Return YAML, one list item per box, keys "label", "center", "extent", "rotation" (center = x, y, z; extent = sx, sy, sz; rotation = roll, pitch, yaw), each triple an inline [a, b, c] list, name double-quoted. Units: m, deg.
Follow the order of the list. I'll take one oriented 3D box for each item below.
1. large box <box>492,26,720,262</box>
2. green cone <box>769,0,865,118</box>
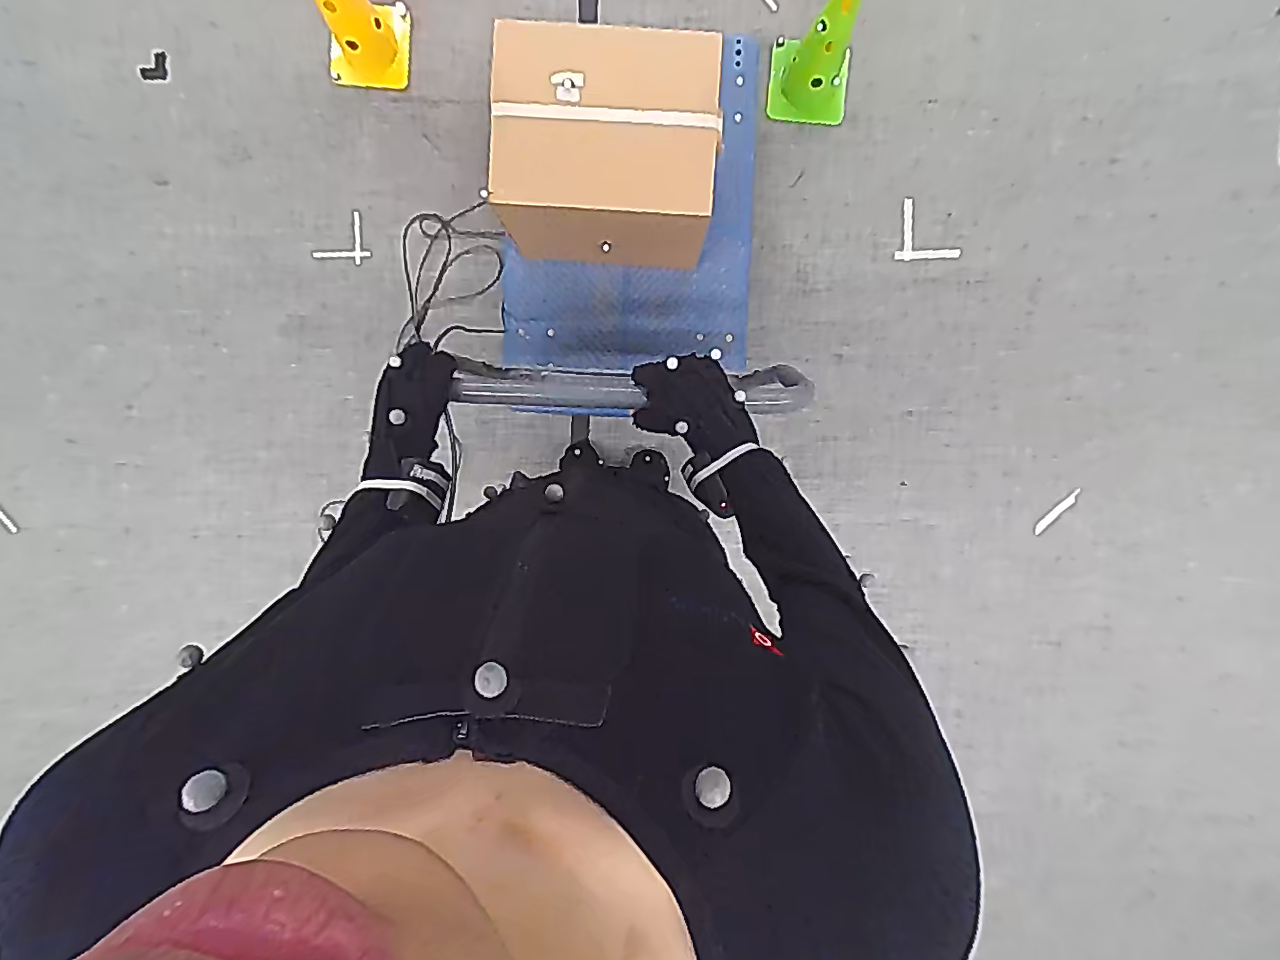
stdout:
- label: "large box"
  center: [-0.058, -0.655, 1.110]
  extent: [0.408, 0.320, 0.320]
  rotation: [3, 94, 1]
- label: "green cone"
  center: [0.440, -1.031, 1.223]
  extent: [0.202, 0.368, 0.200]
  rotation: [4, 94, -1]
